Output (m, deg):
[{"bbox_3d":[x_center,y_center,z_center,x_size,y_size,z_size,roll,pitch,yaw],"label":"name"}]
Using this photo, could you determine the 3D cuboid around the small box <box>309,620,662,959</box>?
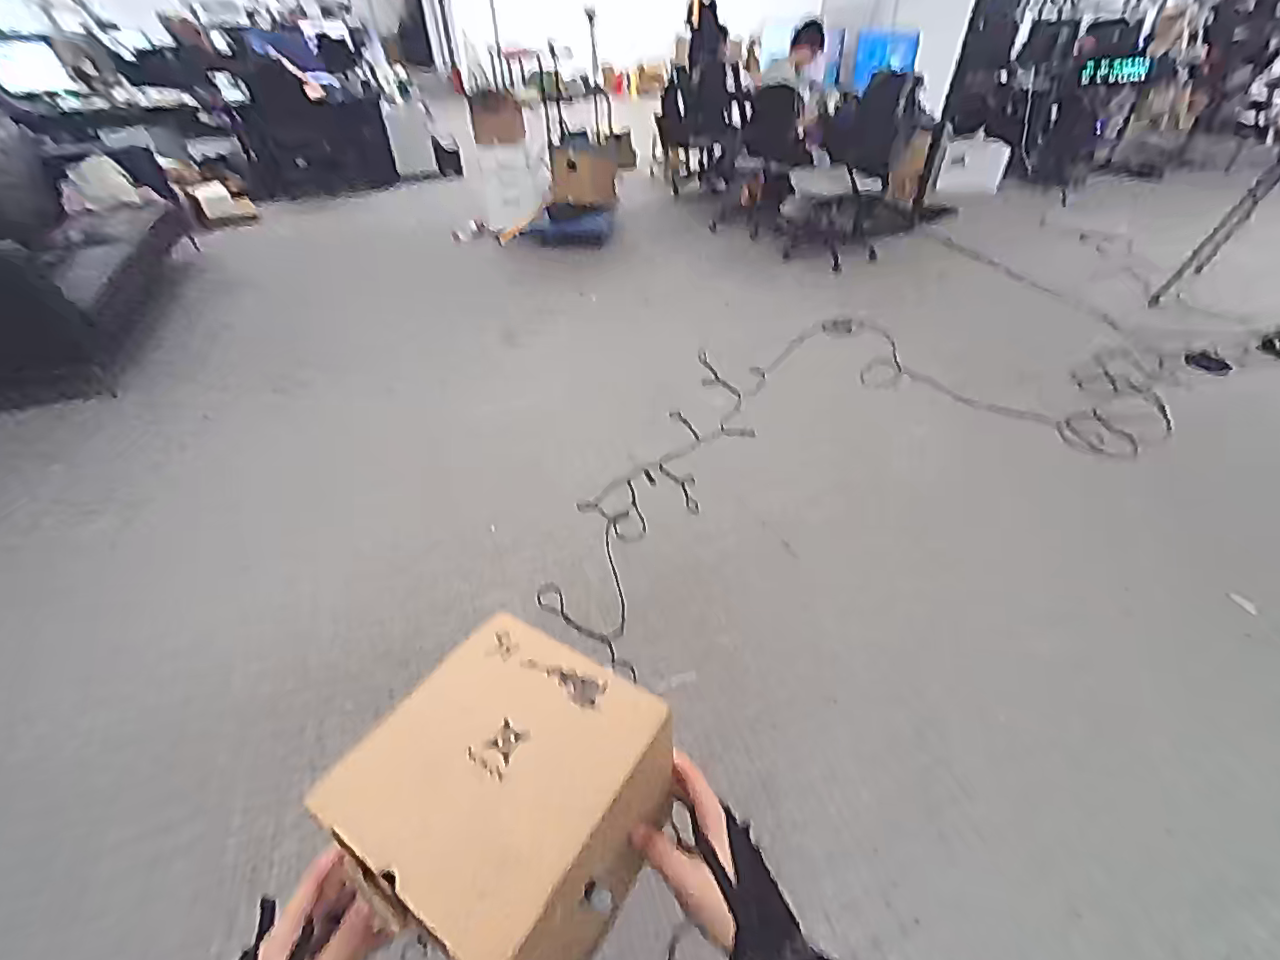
[{"bbox_3d":[-0.091,0.248,0.403,0.168,0.176,0.179,19,42,28],"label":"small box"}]
